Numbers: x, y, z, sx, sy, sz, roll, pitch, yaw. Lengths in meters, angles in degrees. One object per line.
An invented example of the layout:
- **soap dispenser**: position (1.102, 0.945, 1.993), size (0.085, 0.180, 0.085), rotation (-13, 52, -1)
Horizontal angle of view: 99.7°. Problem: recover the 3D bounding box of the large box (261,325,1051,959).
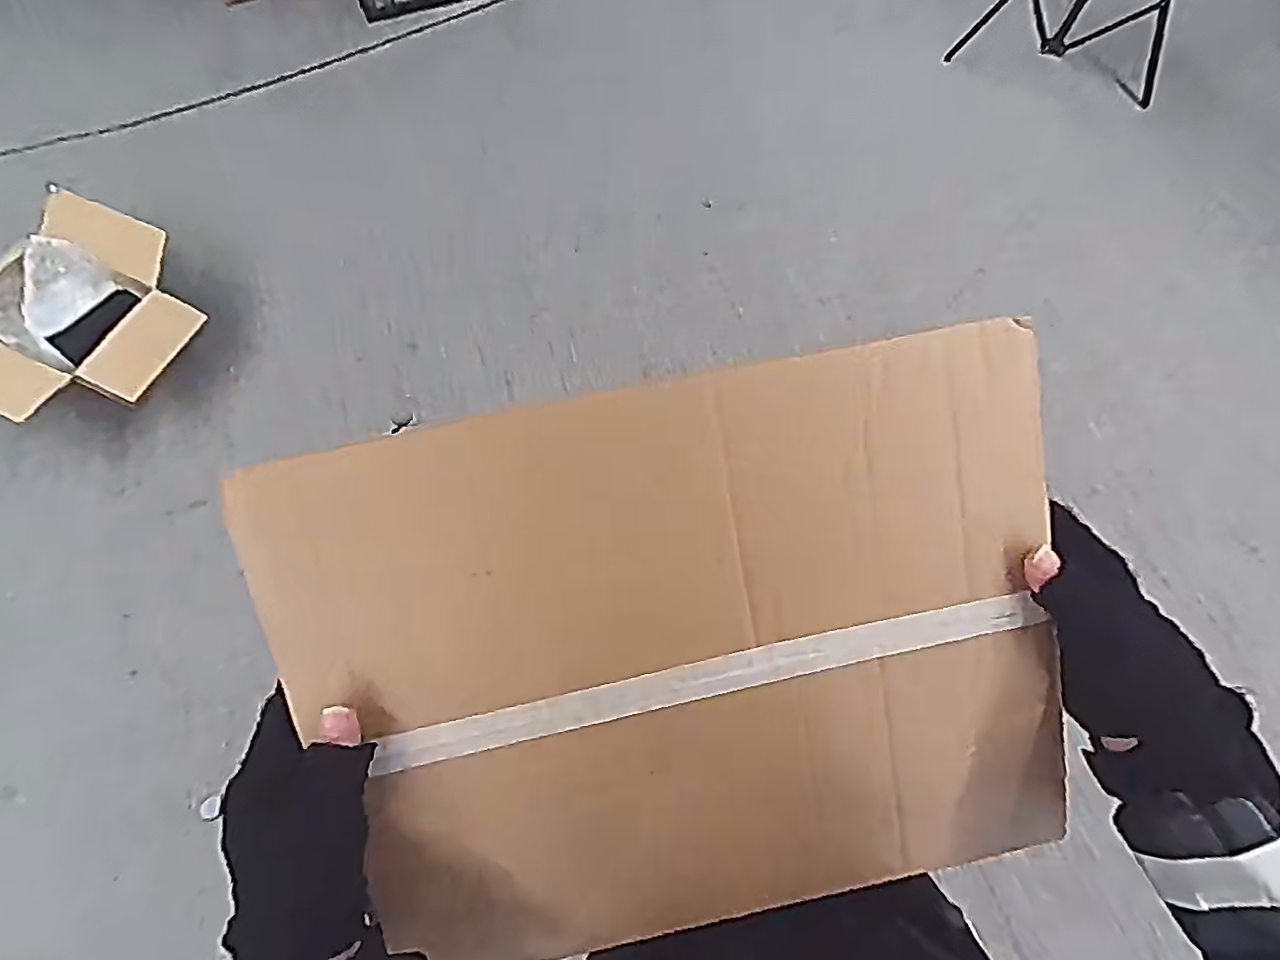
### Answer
- **large box**: position (0.020, 0.083, 0.447), size (0.408, 0.320, 0.320), rotation (-12, 102, -2)
